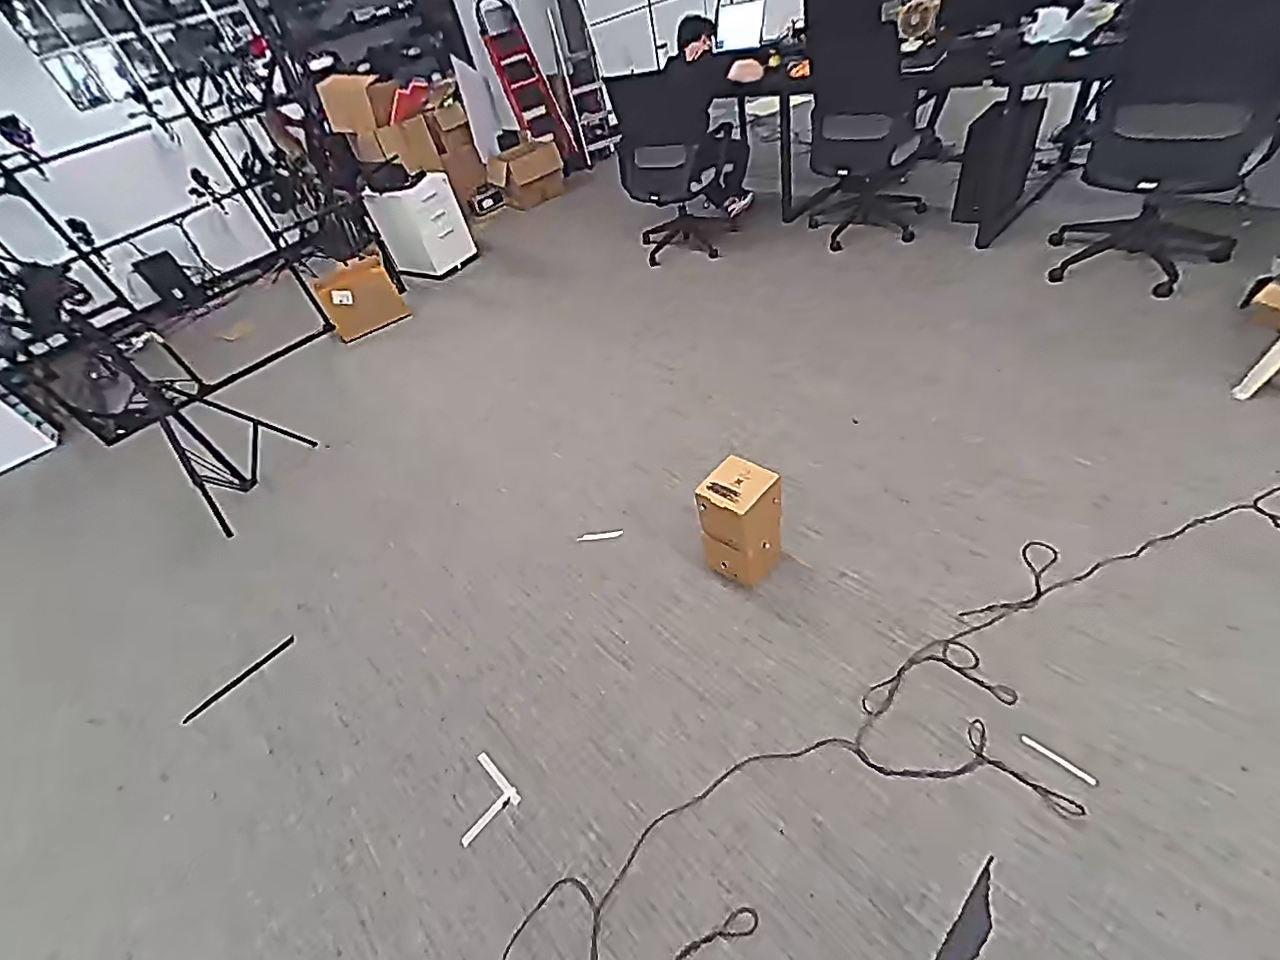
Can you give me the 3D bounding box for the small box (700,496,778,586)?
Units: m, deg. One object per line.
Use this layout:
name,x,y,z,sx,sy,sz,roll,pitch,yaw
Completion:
small box,0.304,0.184,1.636,0.168,0.176,0.179,23,56,34
